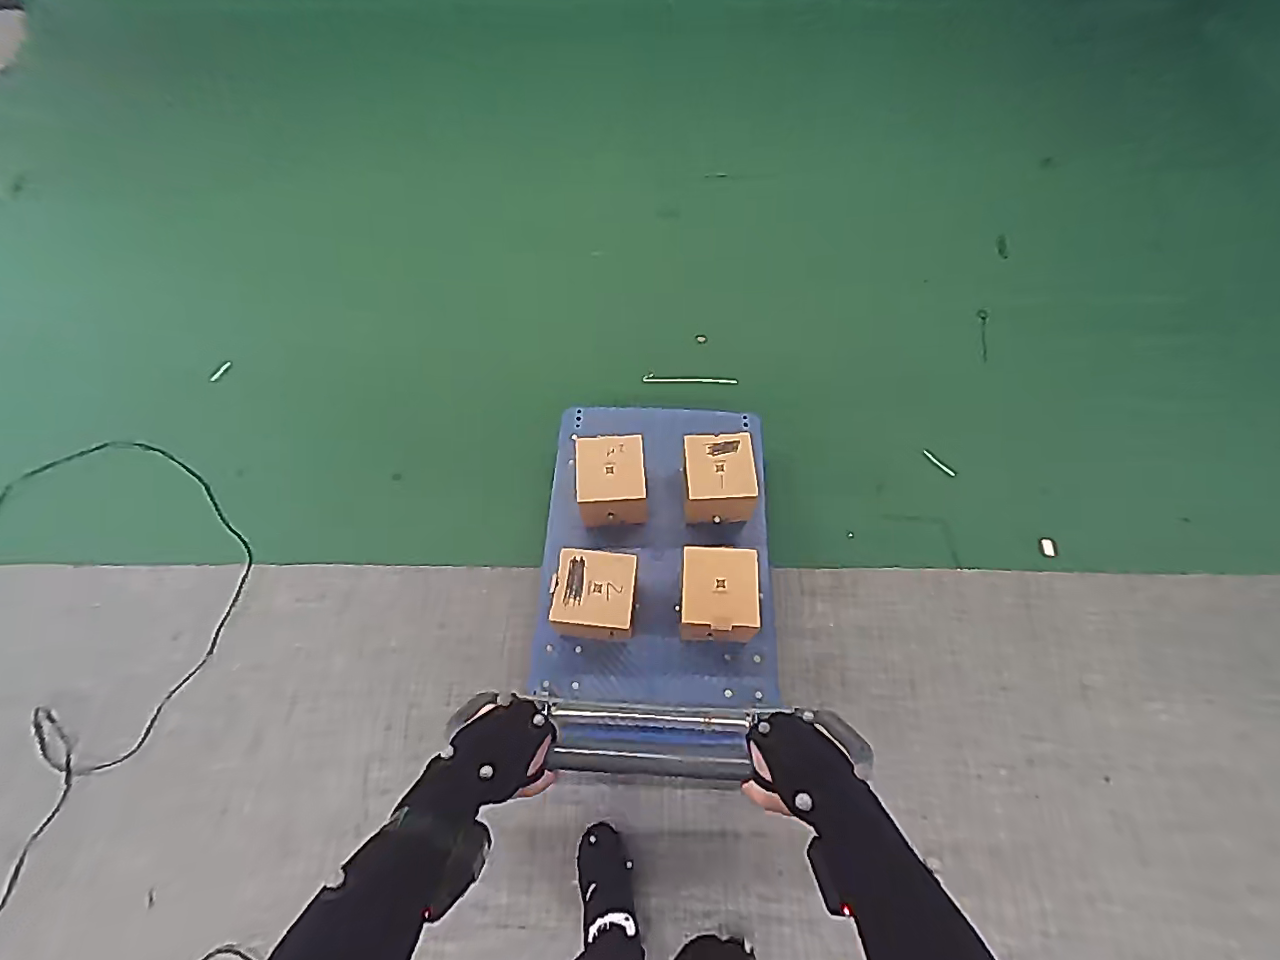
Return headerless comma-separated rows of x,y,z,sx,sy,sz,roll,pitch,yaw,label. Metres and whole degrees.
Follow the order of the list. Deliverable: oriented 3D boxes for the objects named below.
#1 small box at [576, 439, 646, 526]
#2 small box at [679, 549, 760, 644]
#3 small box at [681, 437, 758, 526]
-0.071,0.014,1.376,0.168,0.176,0.179,-3,64,-2,small box
0.178,0.271,1.250,0.168,0.176,0.179,3,65,2,small box
0.195,0.007,1.376,0.168,0.176,0.179,-2,65,0,small box
